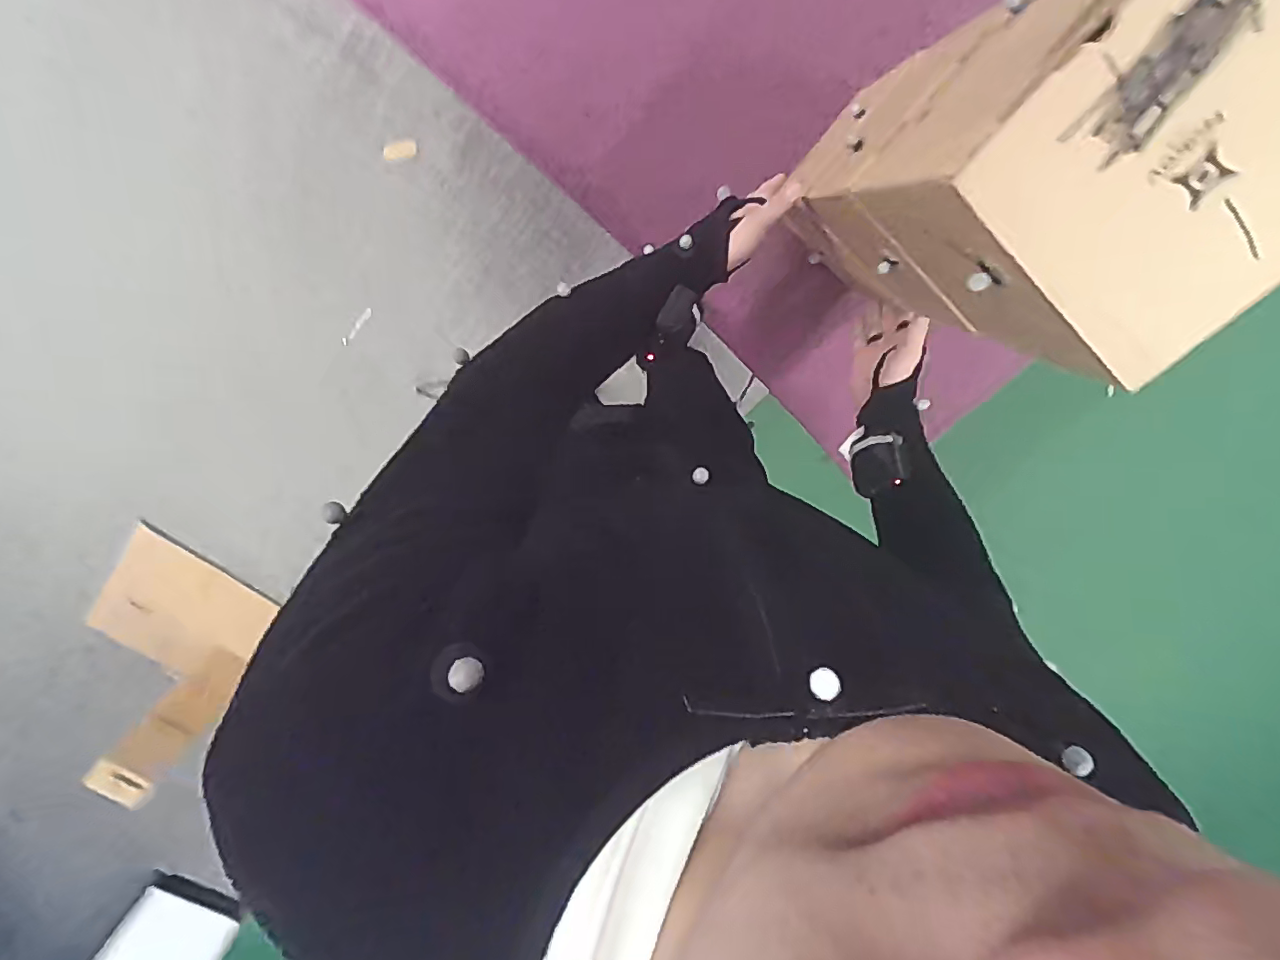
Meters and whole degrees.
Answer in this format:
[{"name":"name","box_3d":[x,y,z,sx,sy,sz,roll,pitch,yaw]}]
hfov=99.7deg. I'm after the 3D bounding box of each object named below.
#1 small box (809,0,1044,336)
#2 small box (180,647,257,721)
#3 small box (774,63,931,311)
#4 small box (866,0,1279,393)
[{"name":"small box","box_3d":[0.281,-0.261,0.488,0.179,0.176,0.168,39,112,-15]},{"name":"small box","box_3d":[-1.611,0.762,2.040,0.179,0.176,0.168,41,111,-16]},{"name":"small box","box_3d":[0.286,-0.332,0.636,0.179,0.176,0.168,37,111,-15]},{"name":"small box","box_3d":[0.279,-0.189,0.341,0.179,0.176,0.168,38,113,-15]}]
